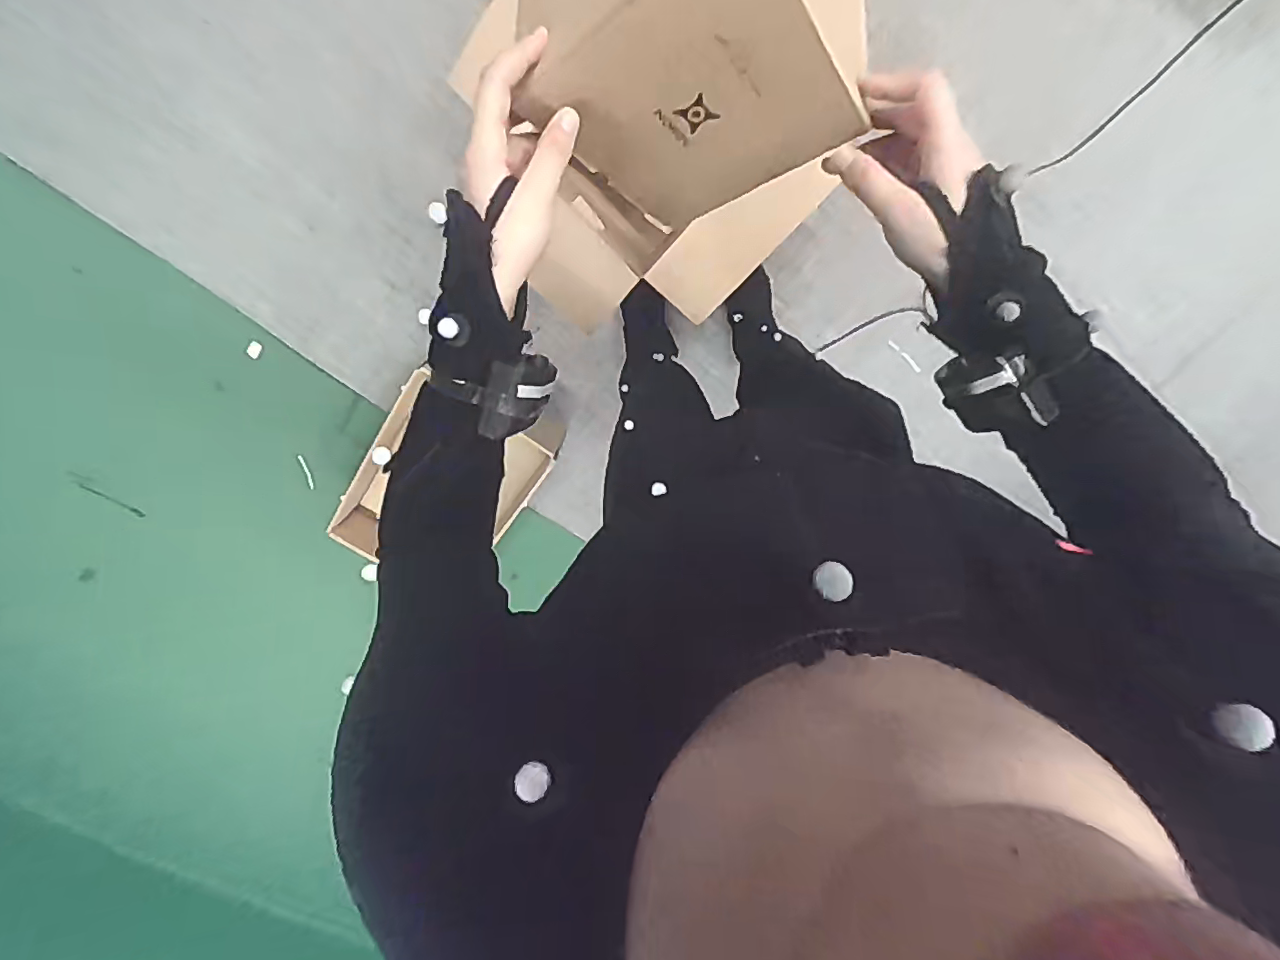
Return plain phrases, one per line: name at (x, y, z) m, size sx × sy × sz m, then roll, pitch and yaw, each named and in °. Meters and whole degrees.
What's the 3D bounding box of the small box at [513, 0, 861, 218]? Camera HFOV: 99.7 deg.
small box at (0.035, -0.330, 0.374) m, size 0.179 × 0.176 × 0.168 m, roll -9°, pitch 165°, yaw 41°
